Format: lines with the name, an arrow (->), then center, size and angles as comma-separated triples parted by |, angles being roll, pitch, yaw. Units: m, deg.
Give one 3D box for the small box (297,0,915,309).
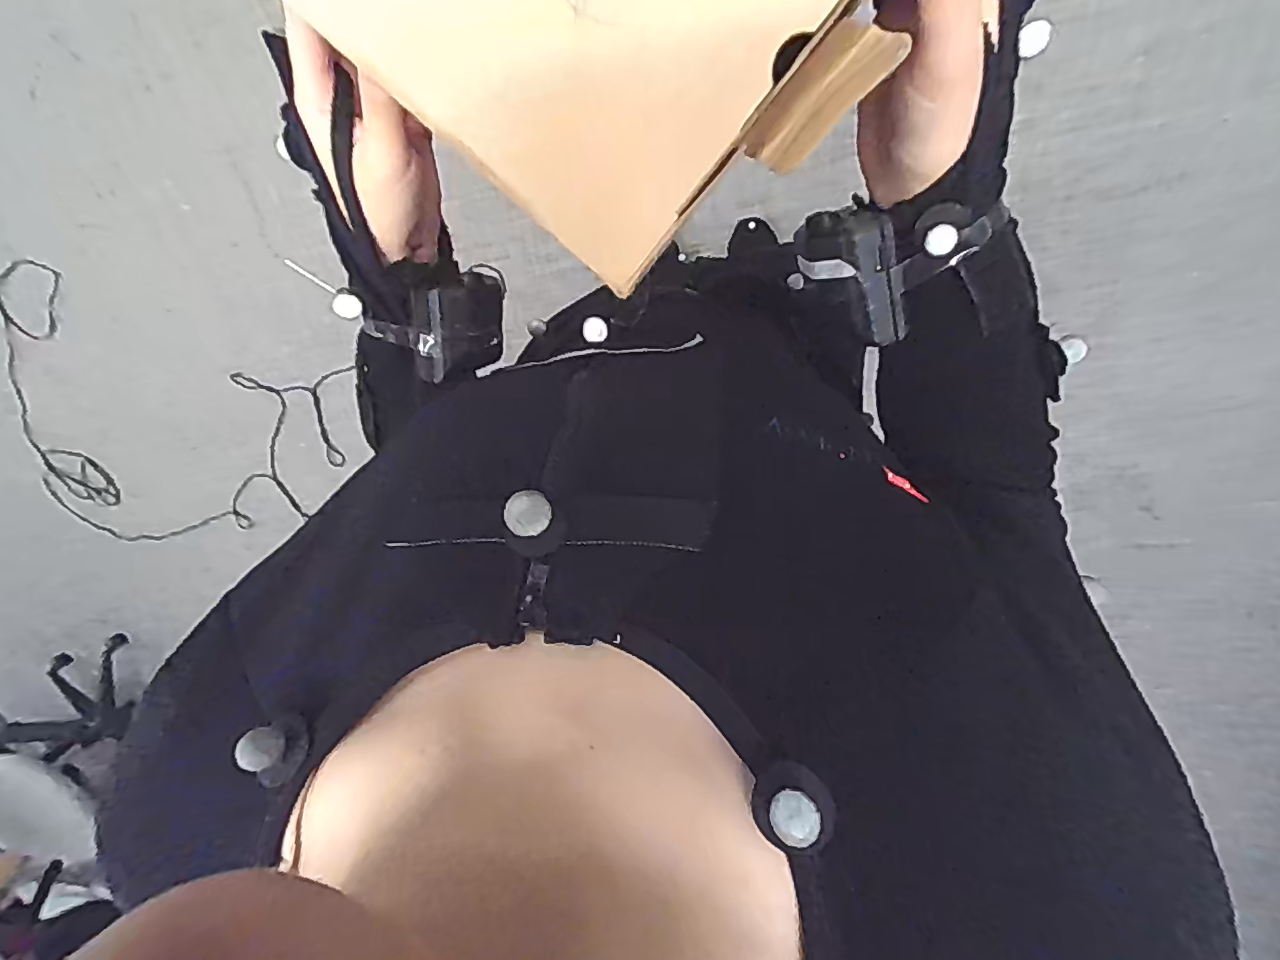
small box -> -0.008, -0.201, 0.217 | 0.179, 0.176, 0.168 | 41, 111, -14
